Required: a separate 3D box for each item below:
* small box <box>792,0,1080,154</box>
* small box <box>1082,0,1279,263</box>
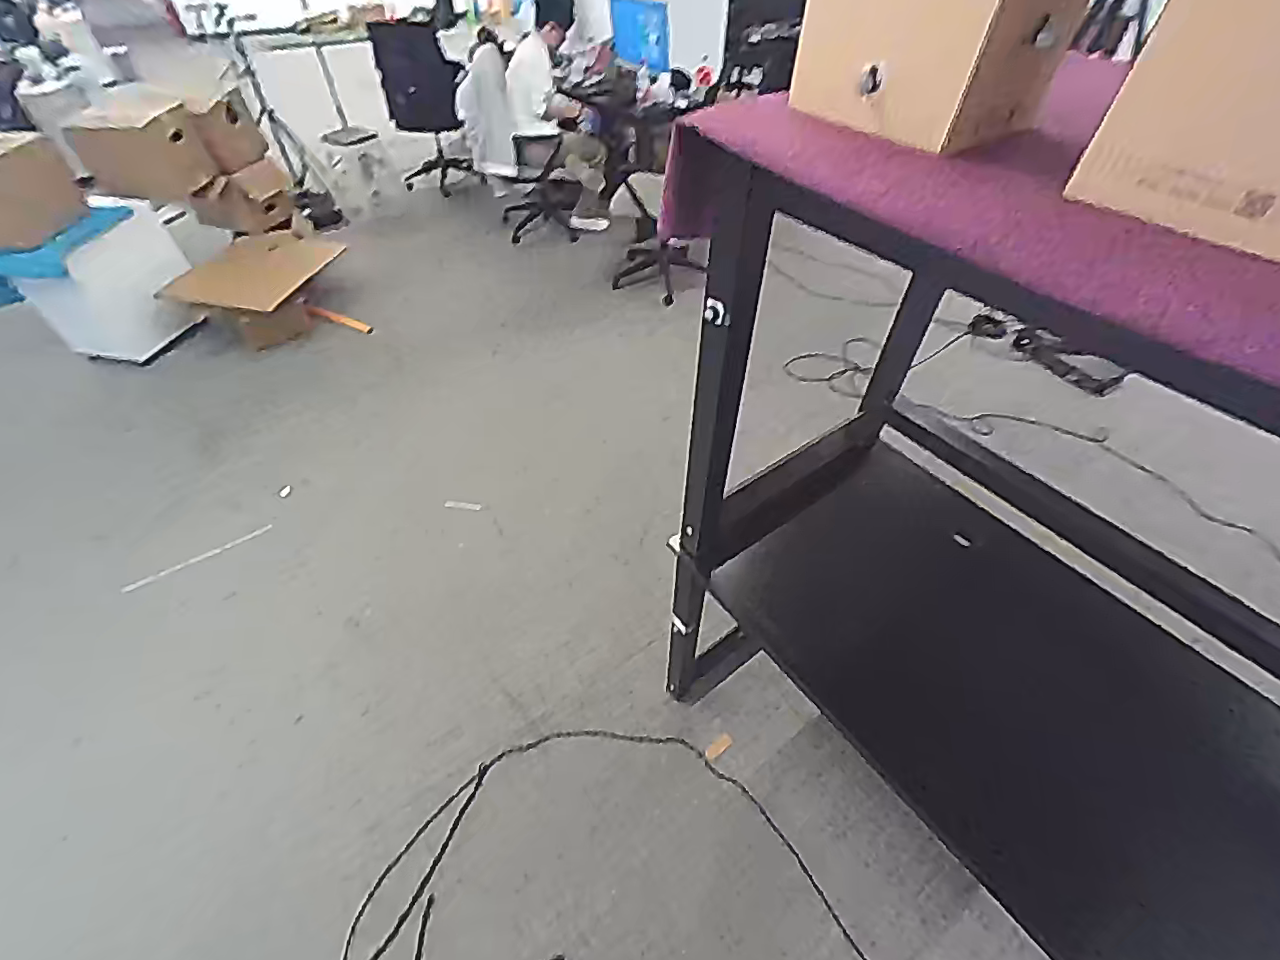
[{"bbox_3d":[0.267,-0.411,0.484,0.168,0.176,0.179,-29,55,-26],"label":"small box"},{"bbox_3d":[0.431,-0.252,0.335,0.179,0.176,0.168,-25,52,-24],"label":"small box"}]
